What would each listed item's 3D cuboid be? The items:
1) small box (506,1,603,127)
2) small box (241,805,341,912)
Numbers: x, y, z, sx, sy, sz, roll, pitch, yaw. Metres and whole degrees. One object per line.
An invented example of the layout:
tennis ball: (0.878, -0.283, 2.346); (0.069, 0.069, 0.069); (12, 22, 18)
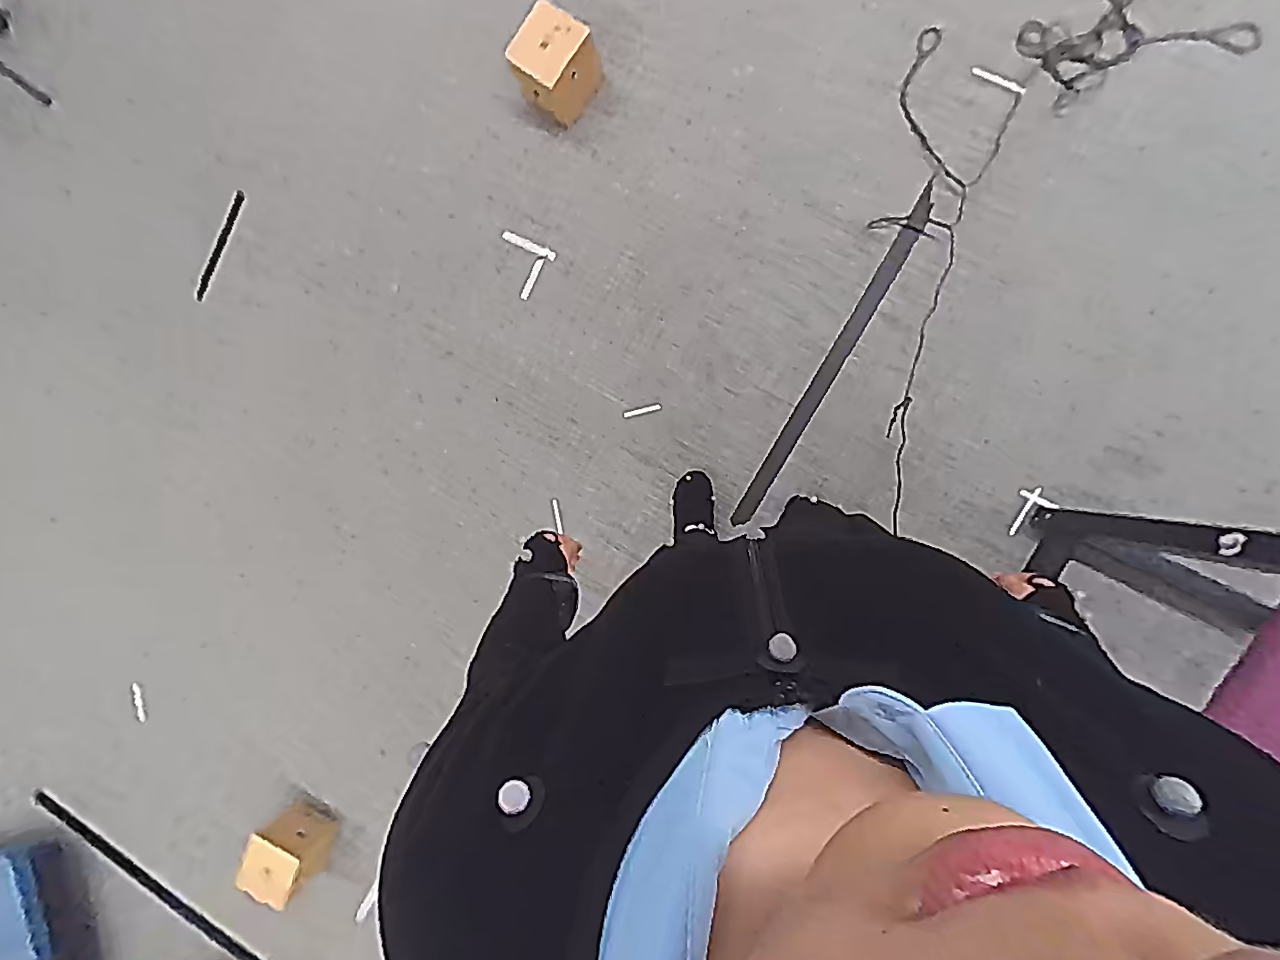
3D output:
small box: (-0.220, -1.106, 1.456); (0.168, 0.176, 0.179); (38, 96, 6)
small box: (-1.048, 1.135, 1.638); (0.168, 0.176, 0.179); (22, 95, 8)
